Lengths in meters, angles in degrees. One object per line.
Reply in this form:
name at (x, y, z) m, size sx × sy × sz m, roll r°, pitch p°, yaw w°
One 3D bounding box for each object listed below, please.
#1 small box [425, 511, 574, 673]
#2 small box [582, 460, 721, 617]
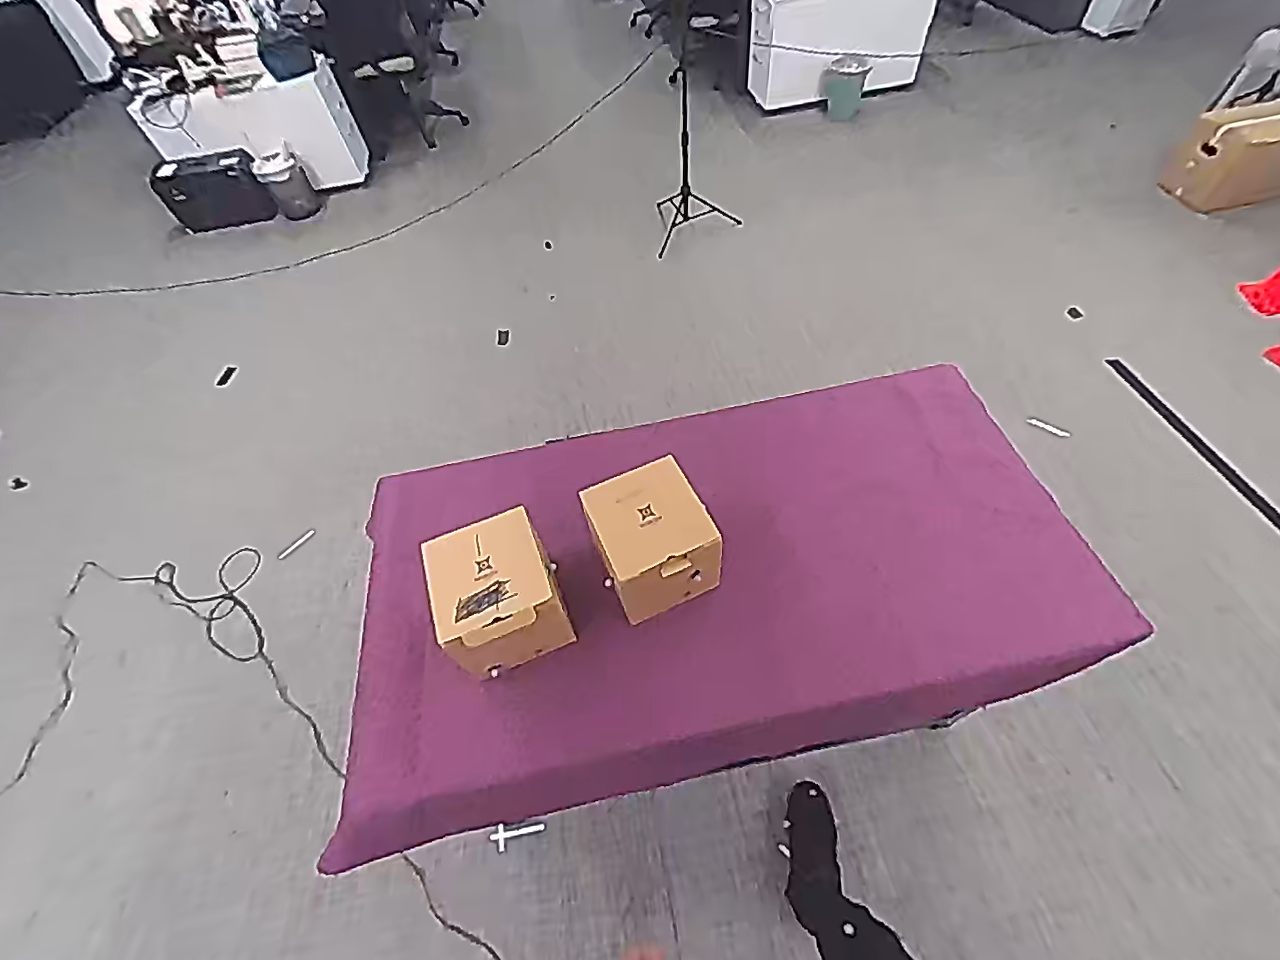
small box at (-0.215, 0.185, 0.855) m, size 0.168 × 0.176 × 0.179 m, roll -21°, pitch 54°, yaw -9°
small box at (0.021, 0.104, 0.888) m, size 0.168 × 0.176 × 0.179 m, roll -22°, pitch 55°, yaw -10°
